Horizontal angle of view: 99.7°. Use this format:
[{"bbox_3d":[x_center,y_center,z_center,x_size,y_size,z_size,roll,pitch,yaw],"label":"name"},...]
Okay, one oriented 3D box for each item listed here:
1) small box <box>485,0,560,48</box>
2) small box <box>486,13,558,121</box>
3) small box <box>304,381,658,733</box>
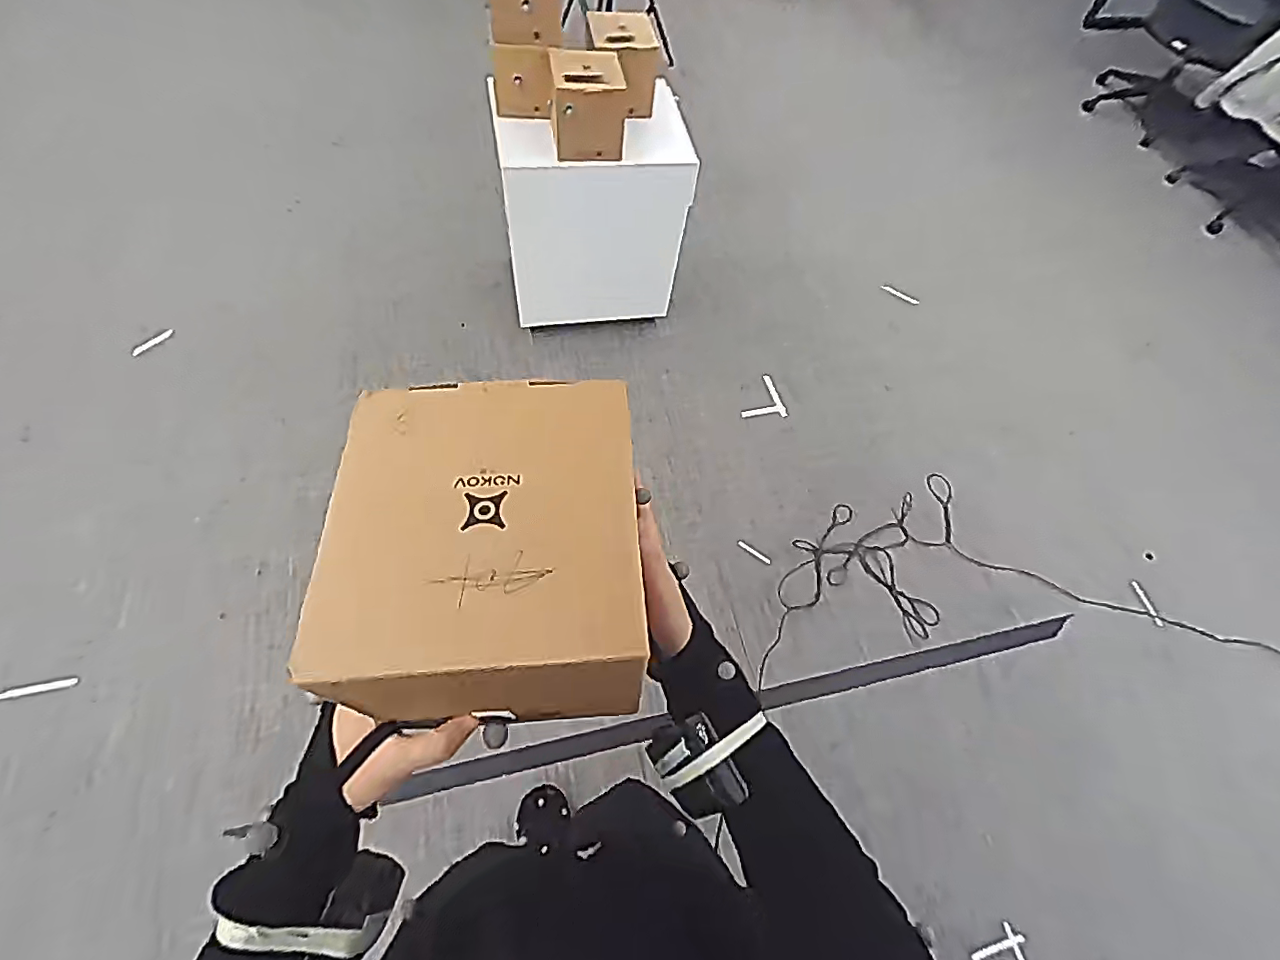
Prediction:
[{"bbox_3d":[-0.276,-1.139,1.251,0.168,0.176,0.179,-6,64,-11],"label":"small box"},{"bbox_3d":[-0.300,-1.056,1.391,0.168,0.176,0.179,-5,63,-10],"label":"small box"},{"bbox_3d":[-0.083,0.057,0.362,0.168,0.176,0.179,-4,59,-4],"label":"small box"}]
